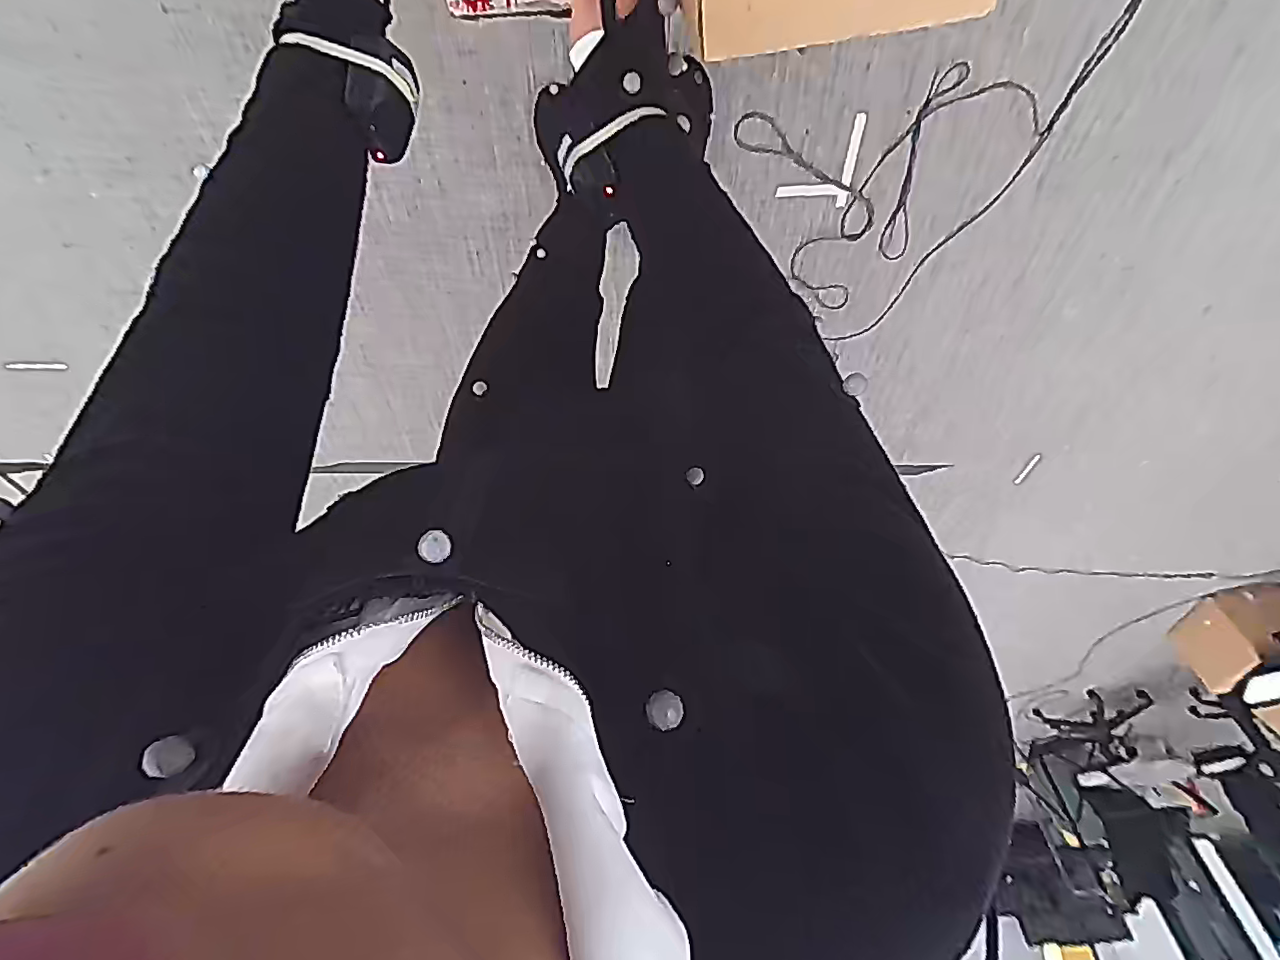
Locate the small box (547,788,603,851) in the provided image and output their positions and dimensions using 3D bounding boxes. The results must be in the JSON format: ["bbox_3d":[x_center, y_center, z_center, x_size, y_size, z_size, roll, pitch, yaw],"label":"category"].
[{"bbox_3d":[-0.235,1.226,1.951,0.168,0.176,0.179,12,136,-15],"label":"small box"}]

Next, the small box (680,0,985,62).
[{"bbox_3d":[0.109,-0.383,0.324,0.179,0.176,0.168,-6,141,4],"label":"small box"}]
